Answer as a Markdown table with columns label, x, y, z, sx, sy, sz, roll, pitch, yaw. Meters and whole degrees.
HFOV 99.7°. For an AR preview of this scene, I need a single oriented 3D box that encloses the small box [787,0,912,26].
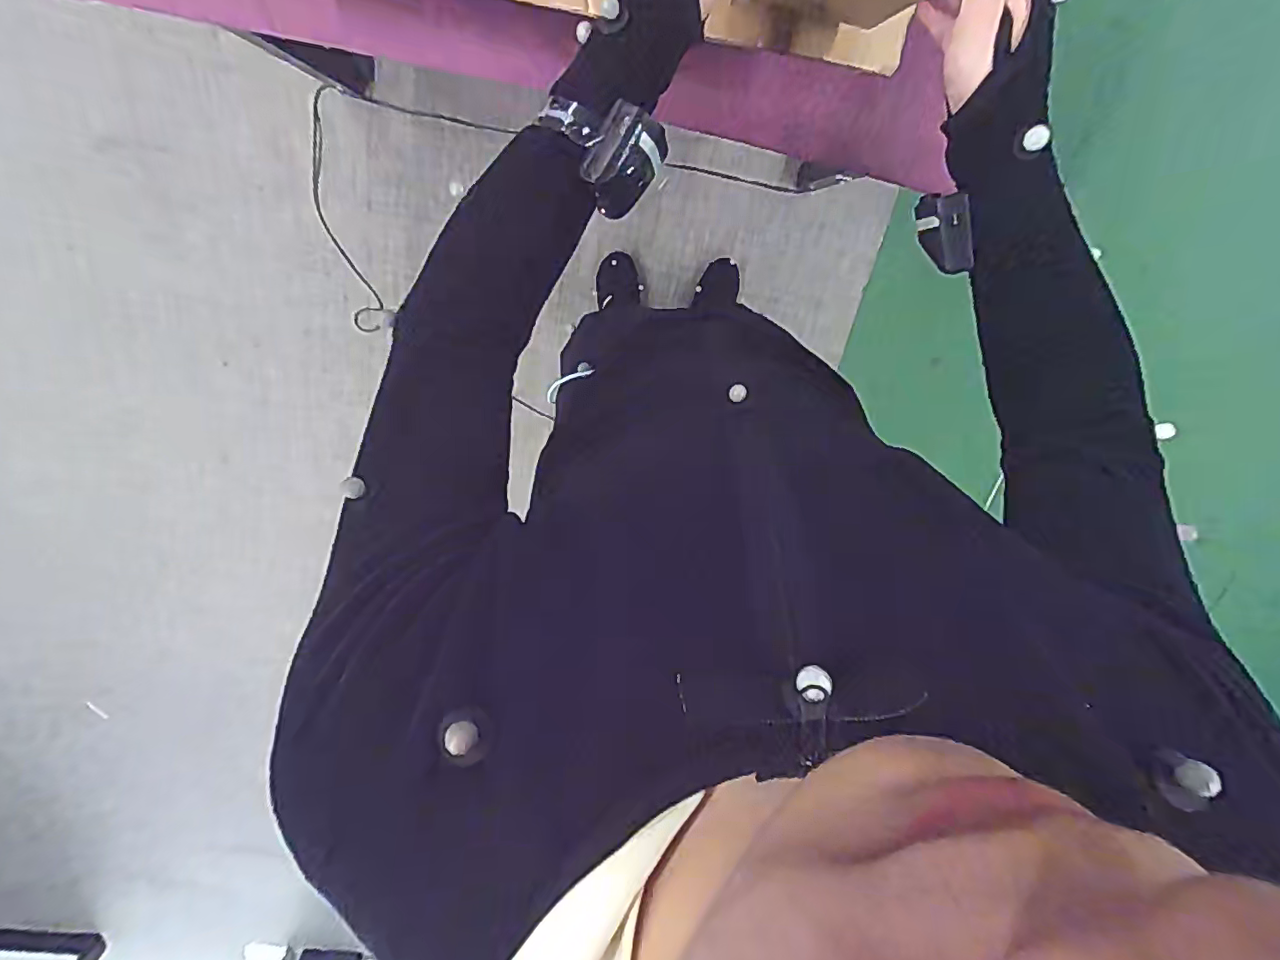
| label | x | y | z | sx | sy | sz | roll | pitch | yaw |
| --- | --- | --- | --- | --- | --- | --- | --- | --- | --- |
| small box | 0.166 | -0.475 | 0.397 | 0.168 | 0.176 | 0.179 | 8 | 116 | -9 |
